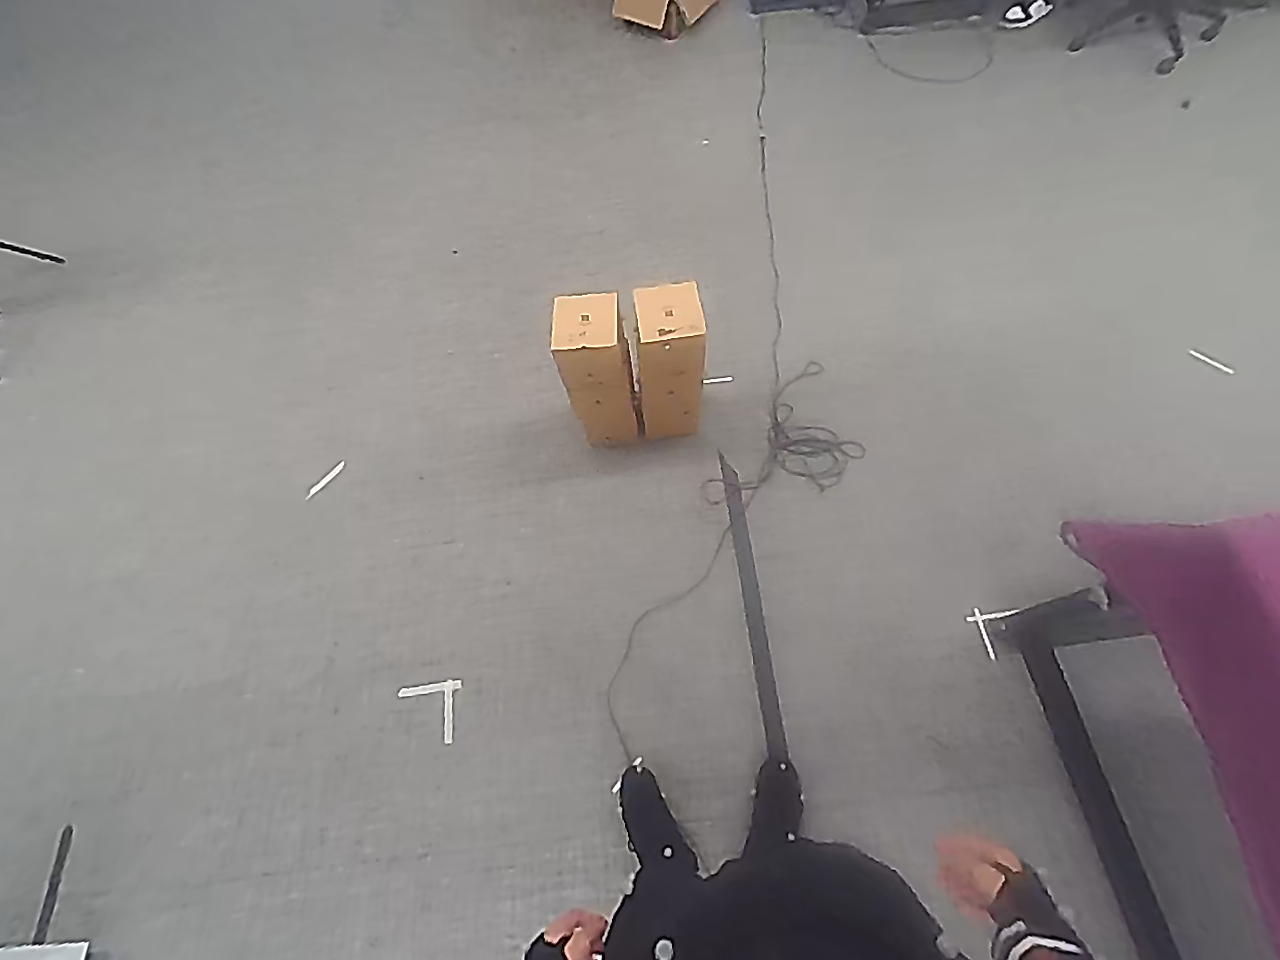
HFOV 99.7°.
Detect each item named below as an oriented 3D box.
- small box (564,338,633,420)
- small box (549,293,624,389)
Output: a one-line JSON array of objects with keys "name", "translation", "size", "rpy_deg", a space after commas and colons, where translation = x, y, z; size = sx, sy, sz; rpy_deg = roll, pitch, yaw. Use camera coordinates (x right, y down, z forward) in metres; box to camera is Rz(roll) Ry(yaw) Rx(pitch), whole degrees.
[{"name": "small box", "translation": [-0.112, -0.287, 1.562], "size": [0.179, 0.176, 0.168], "rpy_deg": [-4, 65, 6]}, {"name": "small box", "translation": [-0.134, -0.361, 1.417], "size": [0.168, 0.176, 0.179], "rpy_deg": [-4, 66, 5]}]
